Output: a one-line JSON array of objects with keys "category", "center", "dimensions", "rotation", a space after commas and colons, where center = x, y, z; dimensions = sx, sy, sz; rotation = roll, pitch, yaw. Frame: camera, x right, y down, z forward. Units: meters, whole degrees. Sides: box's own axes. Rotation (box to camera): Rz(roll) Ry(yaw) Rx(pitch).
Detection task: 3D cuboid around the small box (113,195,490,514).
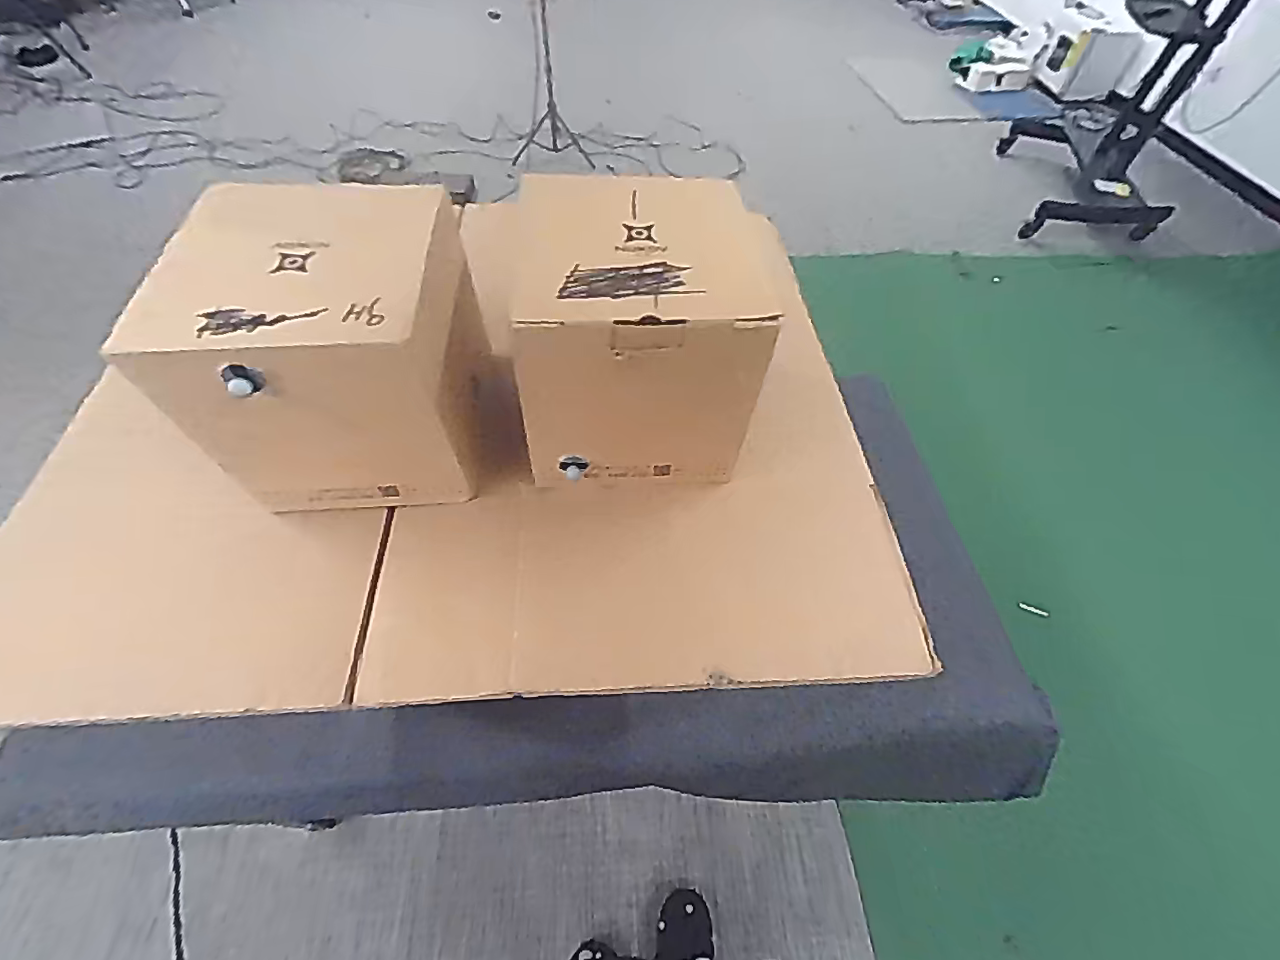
[{"category": "small box", "center": [-0.220, -0.093, 0.418], "dimensions": [0.168, 0.176, 0.179], "rotation": [-4, 54, -2]}]
